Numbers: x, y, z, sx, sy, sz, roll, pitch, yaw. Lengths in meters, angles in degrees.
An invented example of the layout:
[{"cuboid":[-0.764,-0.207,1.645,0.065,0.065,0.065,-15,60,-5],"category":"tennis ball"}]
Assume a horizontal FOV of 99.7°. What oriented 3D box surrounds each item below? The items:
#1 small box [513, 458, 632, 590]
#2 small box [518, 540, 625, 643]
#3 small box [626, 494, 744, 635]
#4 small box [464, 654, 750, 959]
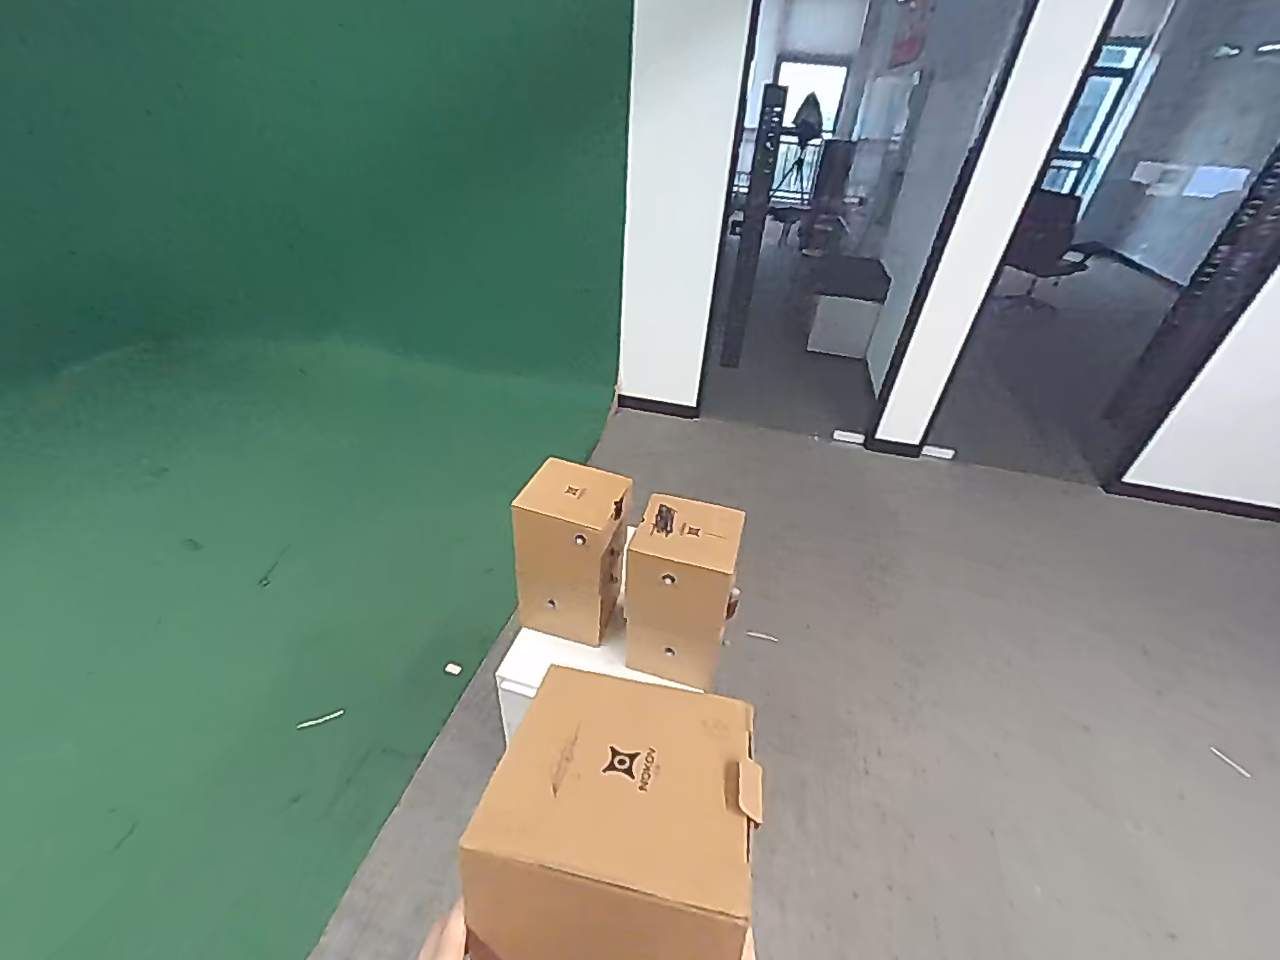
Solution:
[{"cuboid":[-0.129,0.085,1.043,0.179,0.176,0.168,16,37,10],"category":"small box"},{"cuboid":[-0.143,0.216,1.142,0.179,0.176,0.168,14,37,9],"category":"small box"},{"cuboid":[0.078,0.152,0.976,0.179,0.176,0.168,13,36,11],"category":"small box"},{"cuboid":[-0.014,0.269,0.421,0.179,0.176,0.168,7,21,9],"category":"small box"}]
